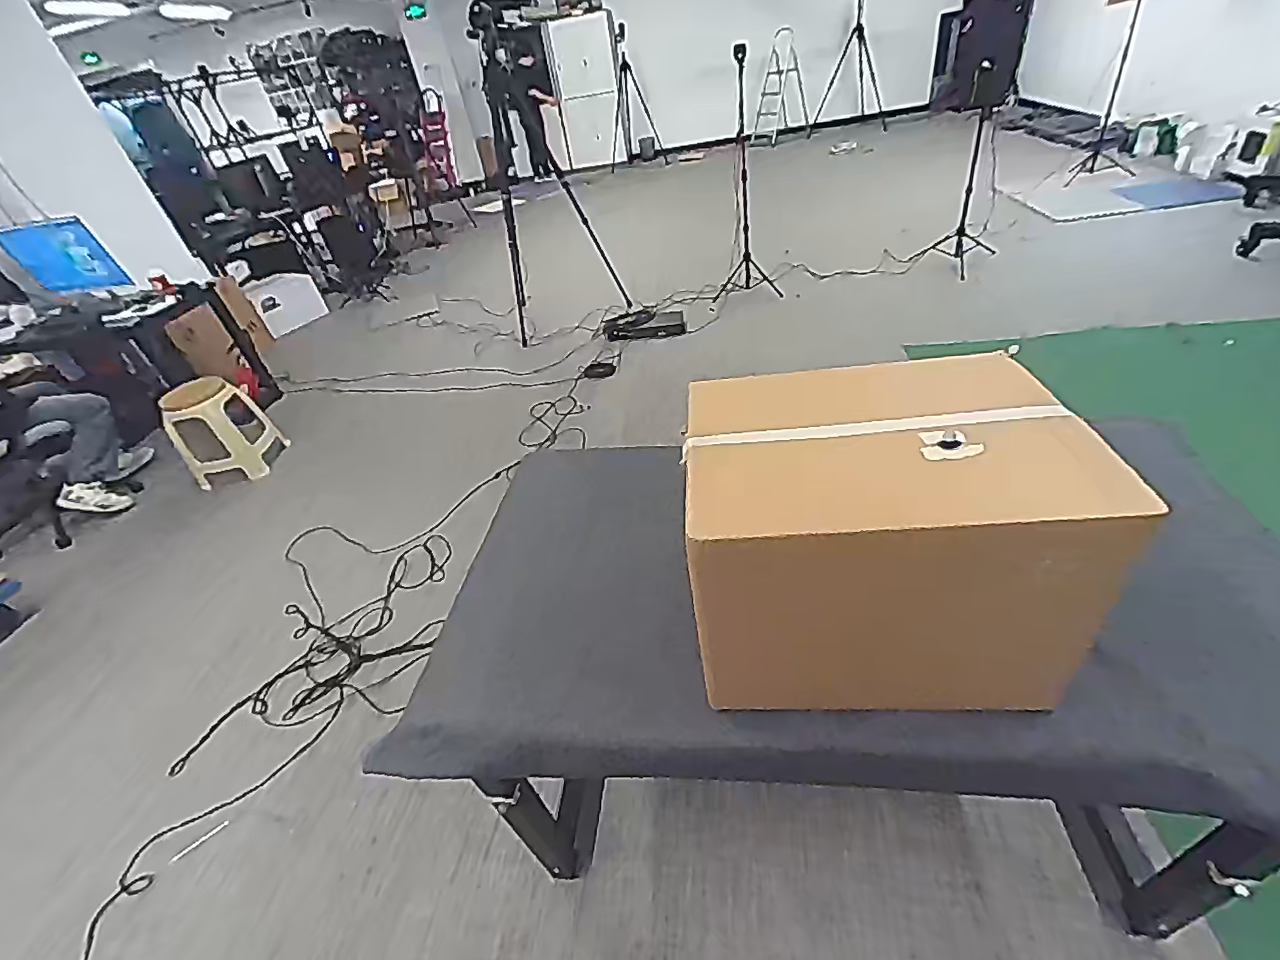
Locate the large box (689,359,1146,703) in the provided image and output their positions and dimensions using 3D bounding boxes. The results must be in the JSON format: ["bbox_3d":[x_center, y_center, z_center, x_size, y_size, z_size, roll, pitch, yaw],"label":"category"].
[{"bbox_3d":[0.275,0.066,0.700,0.408,0.320,0.320,-4,38,8],"label":"large box"}]
